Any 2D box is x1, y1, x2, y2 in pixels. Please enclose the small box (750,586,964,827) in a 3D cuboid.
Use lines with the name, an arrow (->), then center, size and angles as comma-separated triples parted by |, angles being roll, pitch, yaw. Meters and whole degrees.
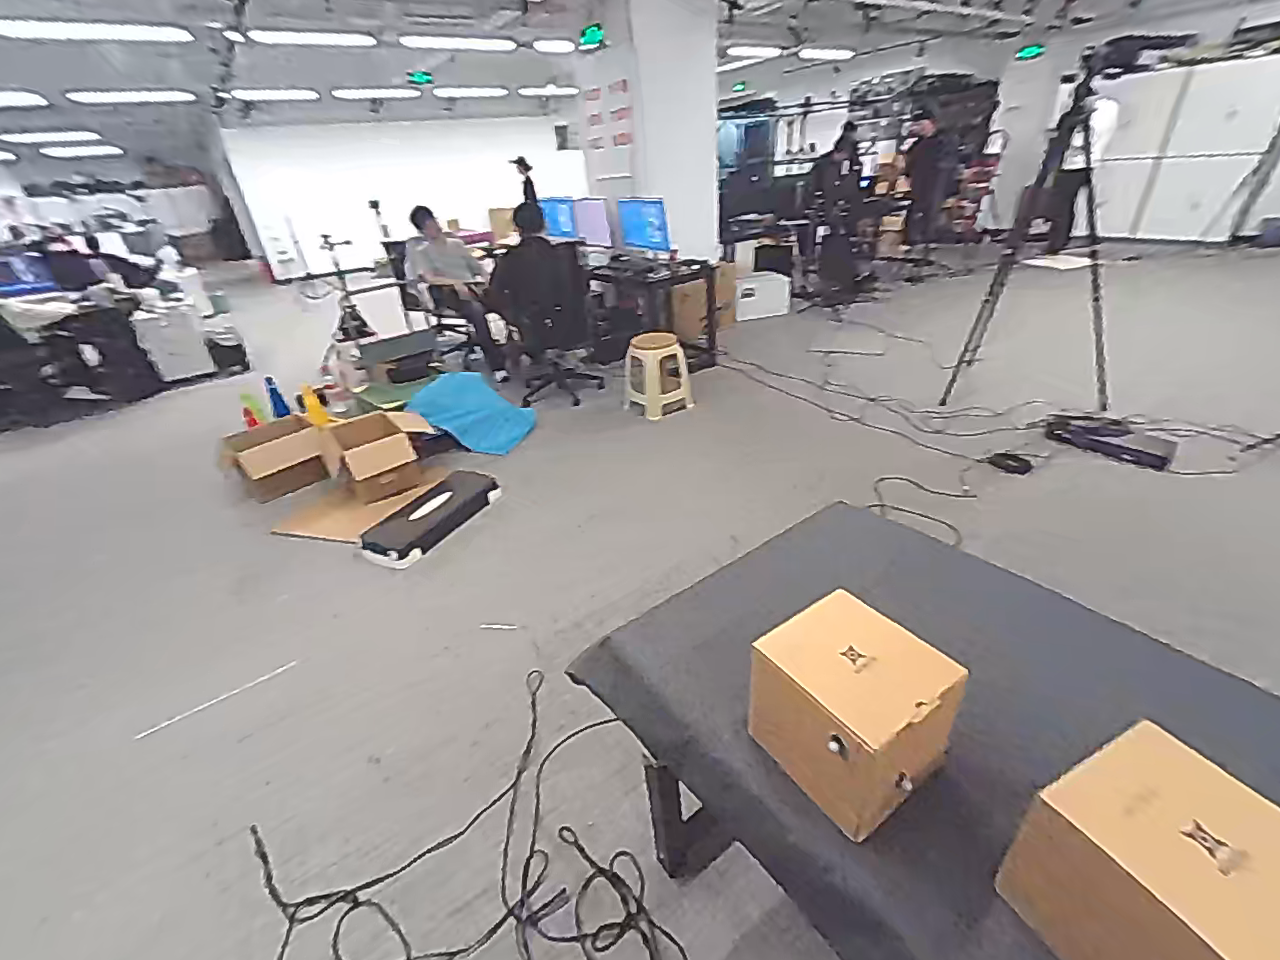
small box -> 0.250, 0.269, 0.663 | 0.168, 0.176, 0.179 | -21, 34, -27

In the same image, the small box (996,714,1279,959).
small box -> 0.463, 0.357, 0.476 | 0.168, 0.176, 0.179 | -16, 30, -20
